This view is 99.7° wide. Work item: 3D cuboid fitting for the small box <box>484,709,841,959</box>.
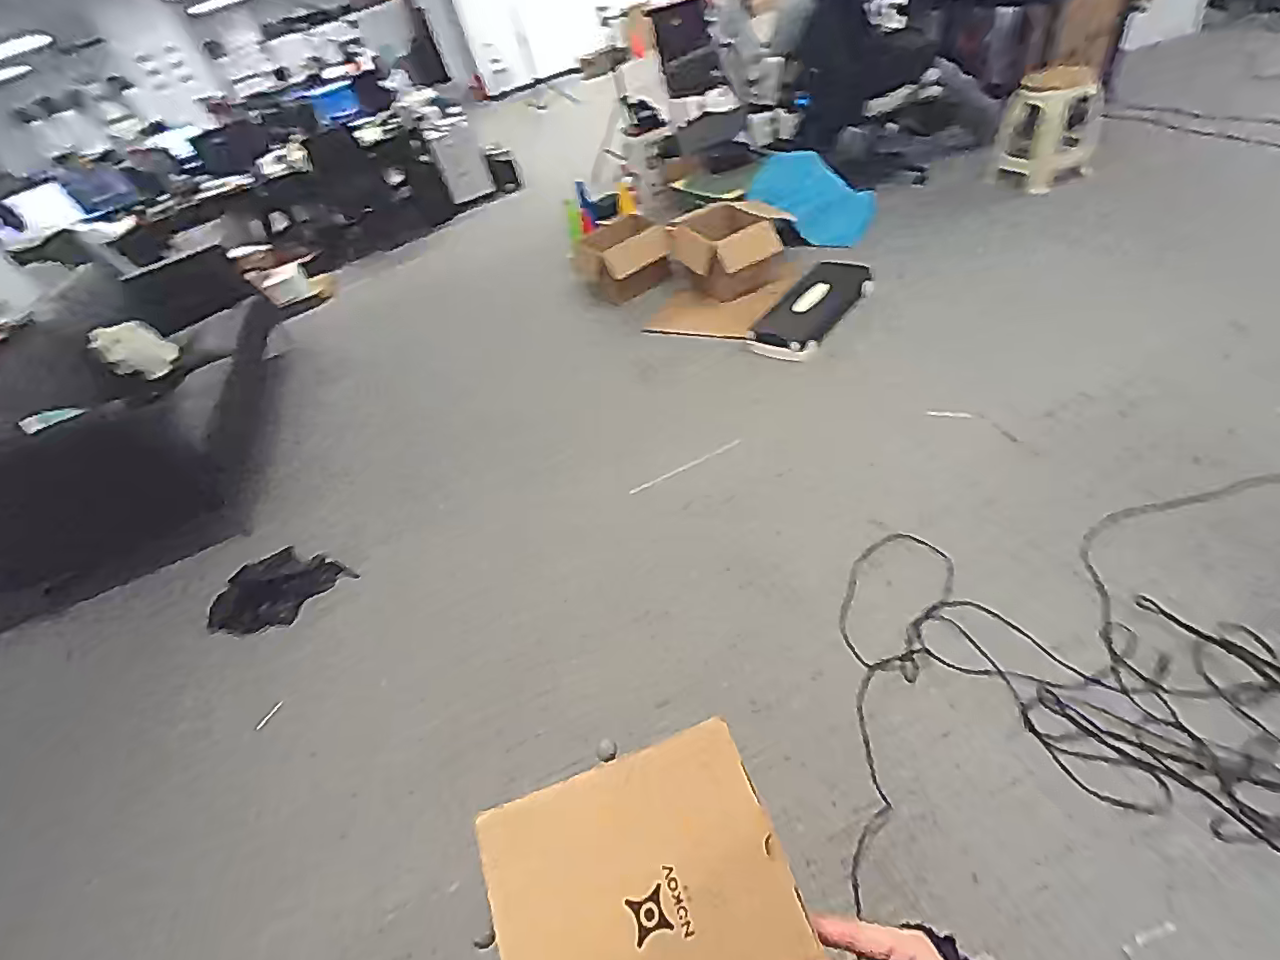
[{"bbox_3d":[-0.002,0.286,0.375,0.179,0.176,0.168,-11,59,-22],"label":"small box"}]
